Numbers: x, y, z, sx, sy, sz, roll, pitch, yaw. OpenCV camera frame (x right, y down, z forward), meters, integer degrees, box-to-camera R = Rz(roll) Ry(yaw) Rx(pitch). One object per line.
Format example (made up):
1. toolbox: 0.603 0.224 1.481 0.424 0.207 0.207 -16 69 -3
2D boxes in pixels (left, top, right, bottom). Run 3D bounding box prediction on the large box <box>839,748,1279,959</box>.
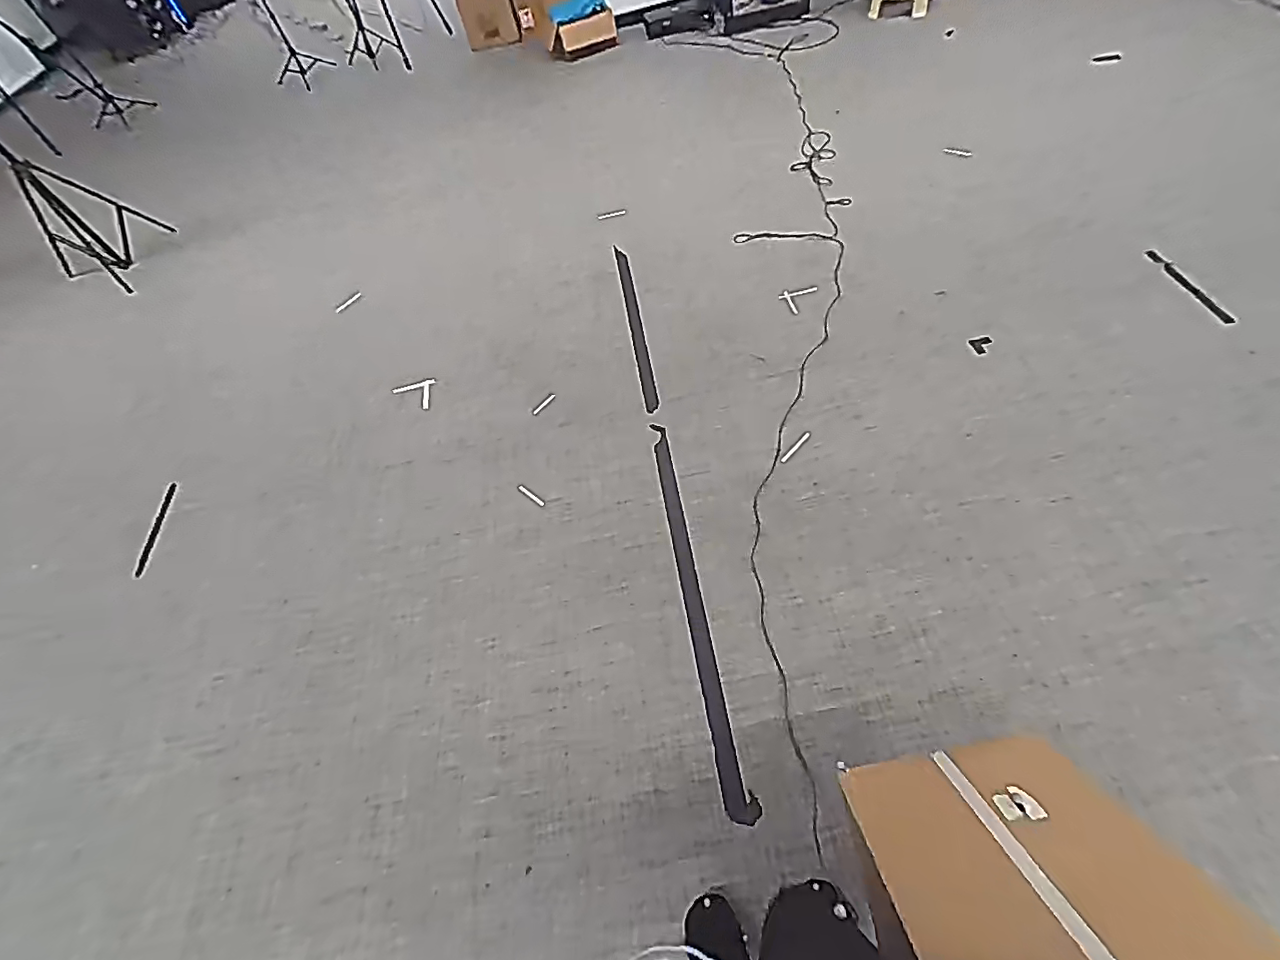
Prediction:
1. large box: 0.485 0.607 0.658 0.320 0.408 0.320 -12 93 5
